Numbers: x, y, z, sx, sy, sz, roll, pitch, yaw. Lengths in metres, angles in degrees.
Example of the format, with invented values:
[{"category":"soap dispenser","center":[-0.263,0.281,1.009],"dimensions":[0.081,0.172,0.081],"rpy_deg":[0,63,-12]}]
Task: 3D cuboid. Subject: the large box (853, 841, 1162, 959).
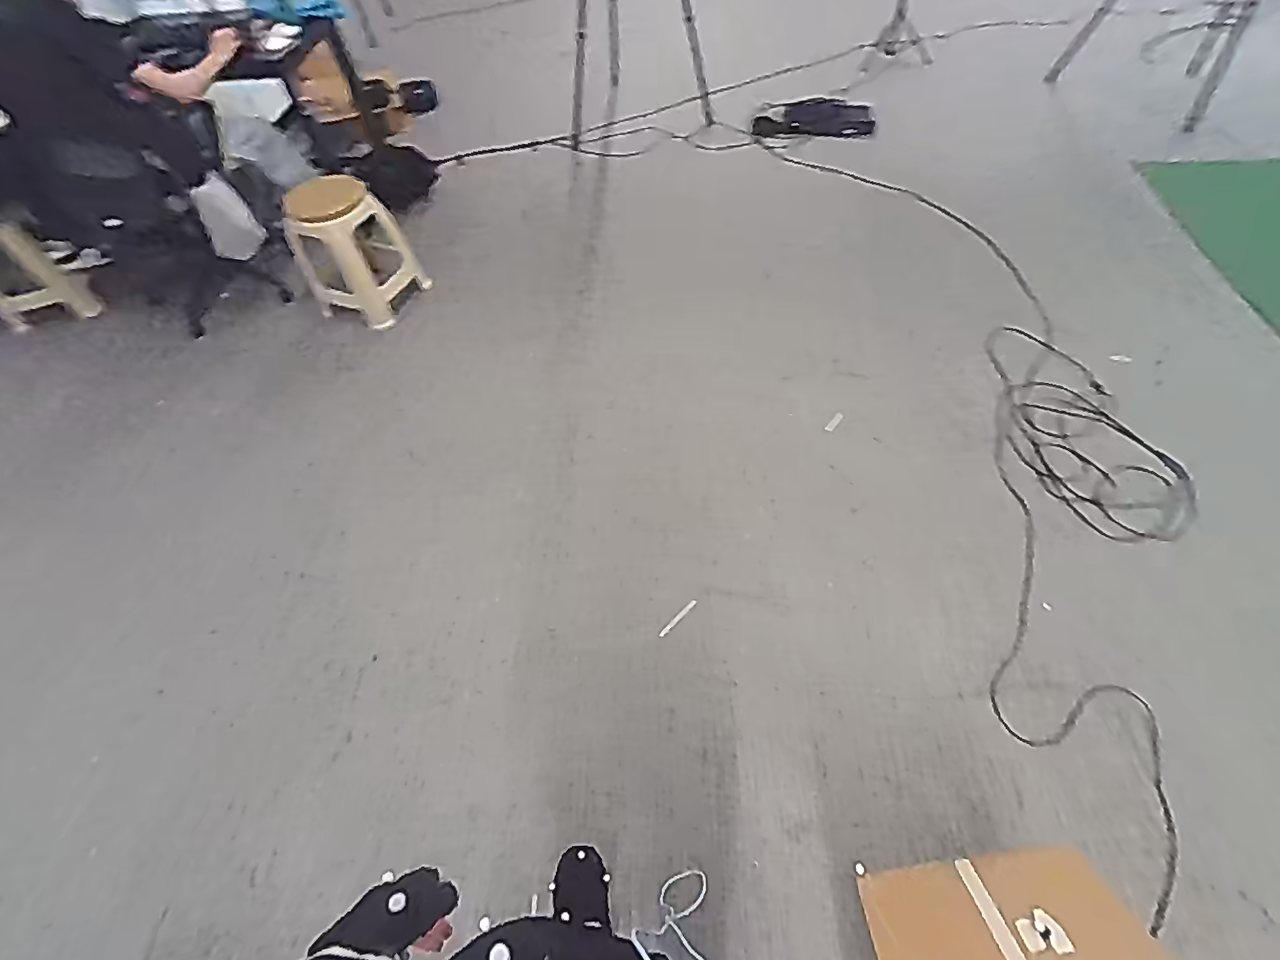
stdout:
[{"category":"large box","center":[0.491,0.729,0.623],"dimensions":[0.320,0.408,0.320],"rpy_deg":[-18,90,10]}]
